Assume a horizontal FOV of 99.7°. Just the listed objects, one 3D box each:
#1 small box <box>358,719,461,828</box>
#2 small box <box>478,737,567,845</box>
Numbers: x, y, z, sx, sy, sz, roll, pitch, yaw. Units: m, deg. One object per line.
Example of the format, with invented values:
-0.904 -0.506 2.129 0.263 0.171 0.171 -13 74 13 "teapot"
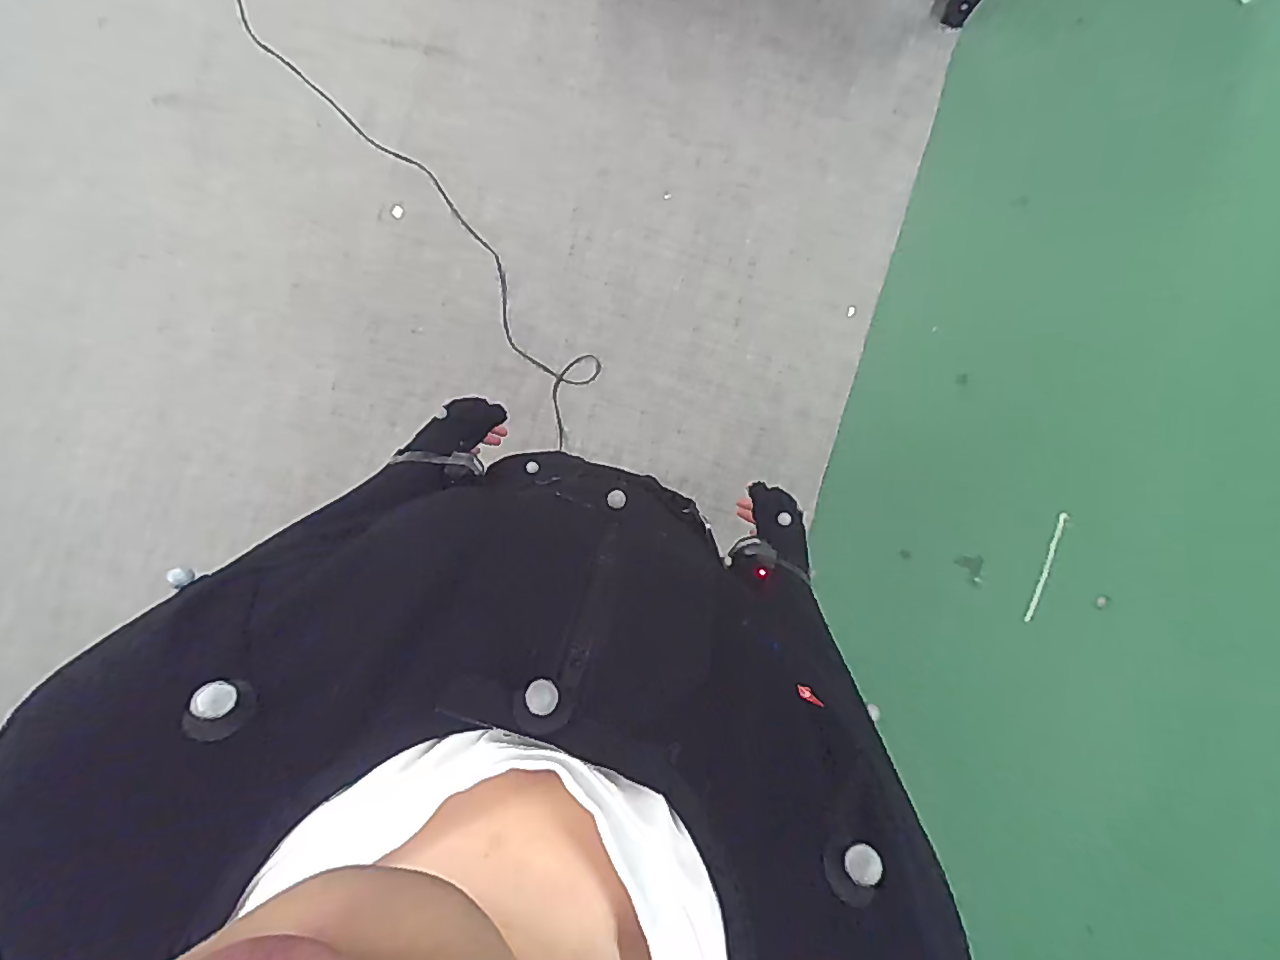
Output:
-0.568 0.726 1.356 0.179 0.176 0.168 12 92 -1 "small box"
-0.290 0.775 1.364 0.179 0.176 0.168 7 93 0 "small box"
